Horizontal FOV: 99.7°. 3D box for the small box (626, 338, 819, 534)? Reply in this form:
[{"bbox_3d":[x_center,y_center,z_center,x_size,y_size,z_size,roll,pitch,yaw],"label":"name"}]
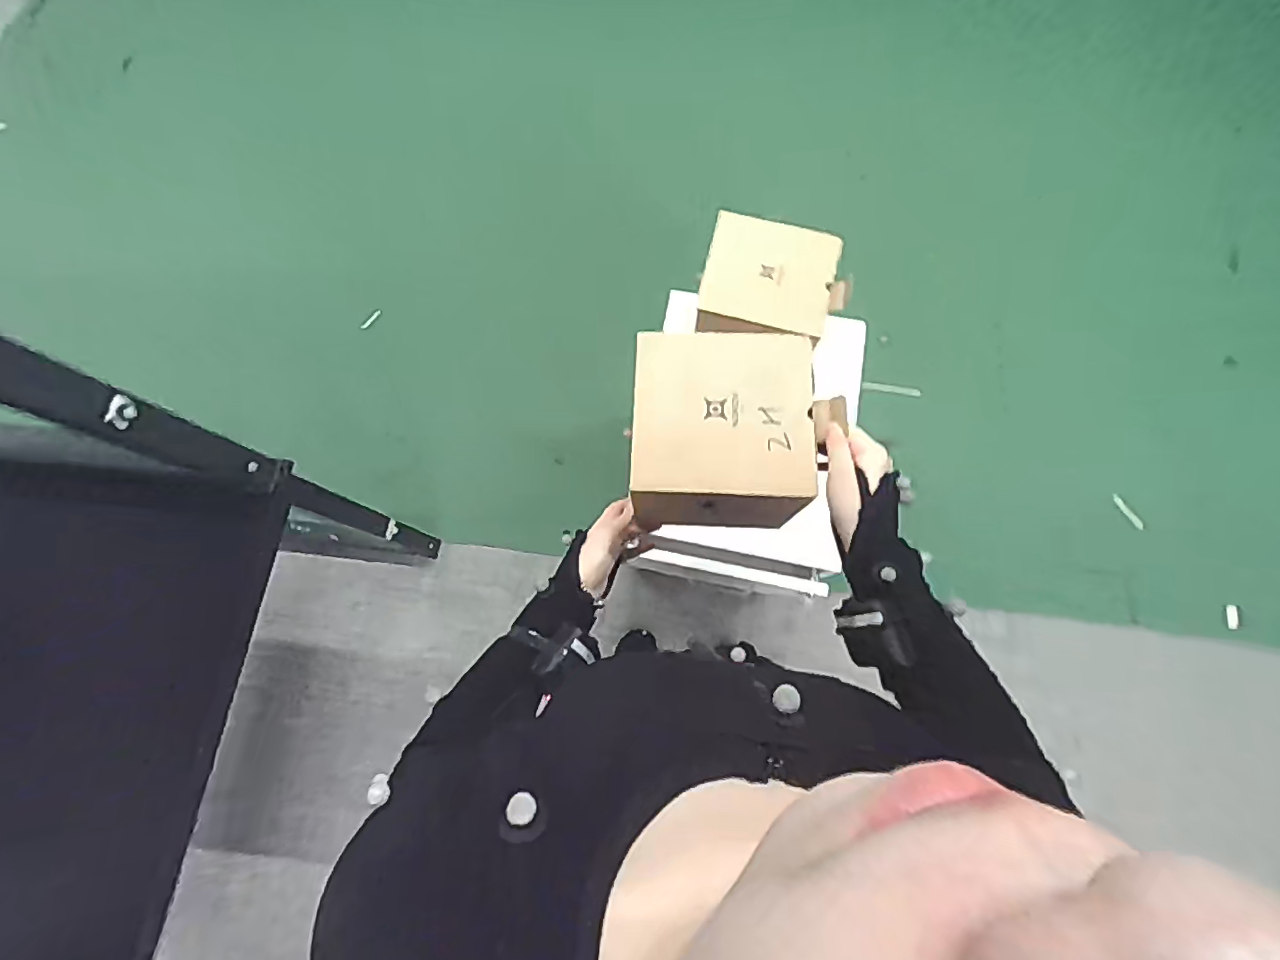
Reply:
[{"bbox_3d":[0.080,-0.037,0.582,0.179,0.176,0.168,2,75,2],"label":"small box"}]

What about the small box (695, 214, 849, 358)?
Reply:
[{"bbox_3d":[0.182,-0.252,0.800,0.179,0.176,0.168,15,75,3],"label":"small box"}]
